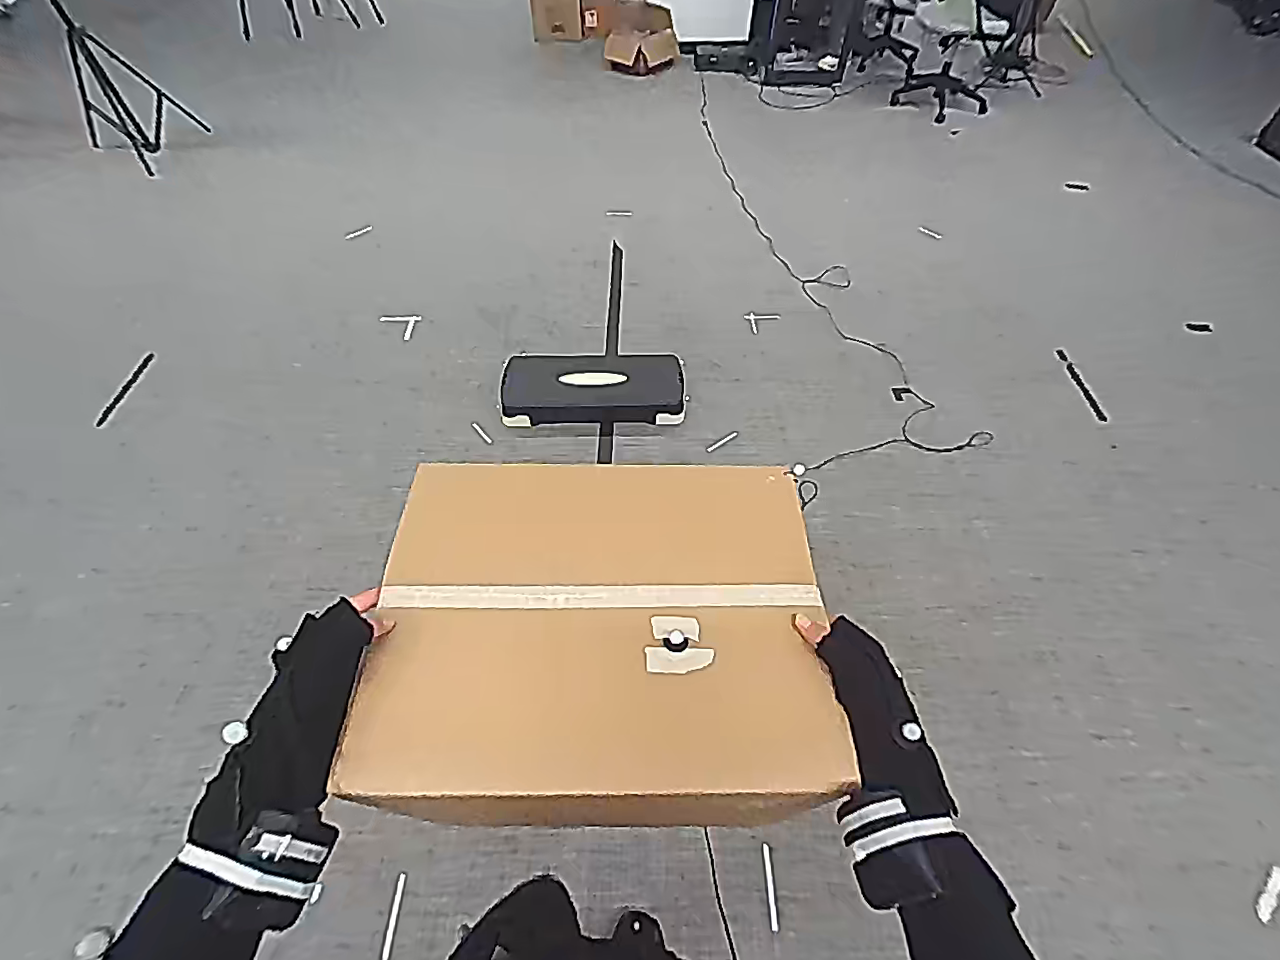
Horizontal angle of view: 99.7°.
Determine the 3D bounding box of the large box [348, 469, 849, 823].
[{"bbox_3d":[-0.037,0.201,0.630,0.408,0.320,0.320,1,54,-1],"label":"large box"}]
